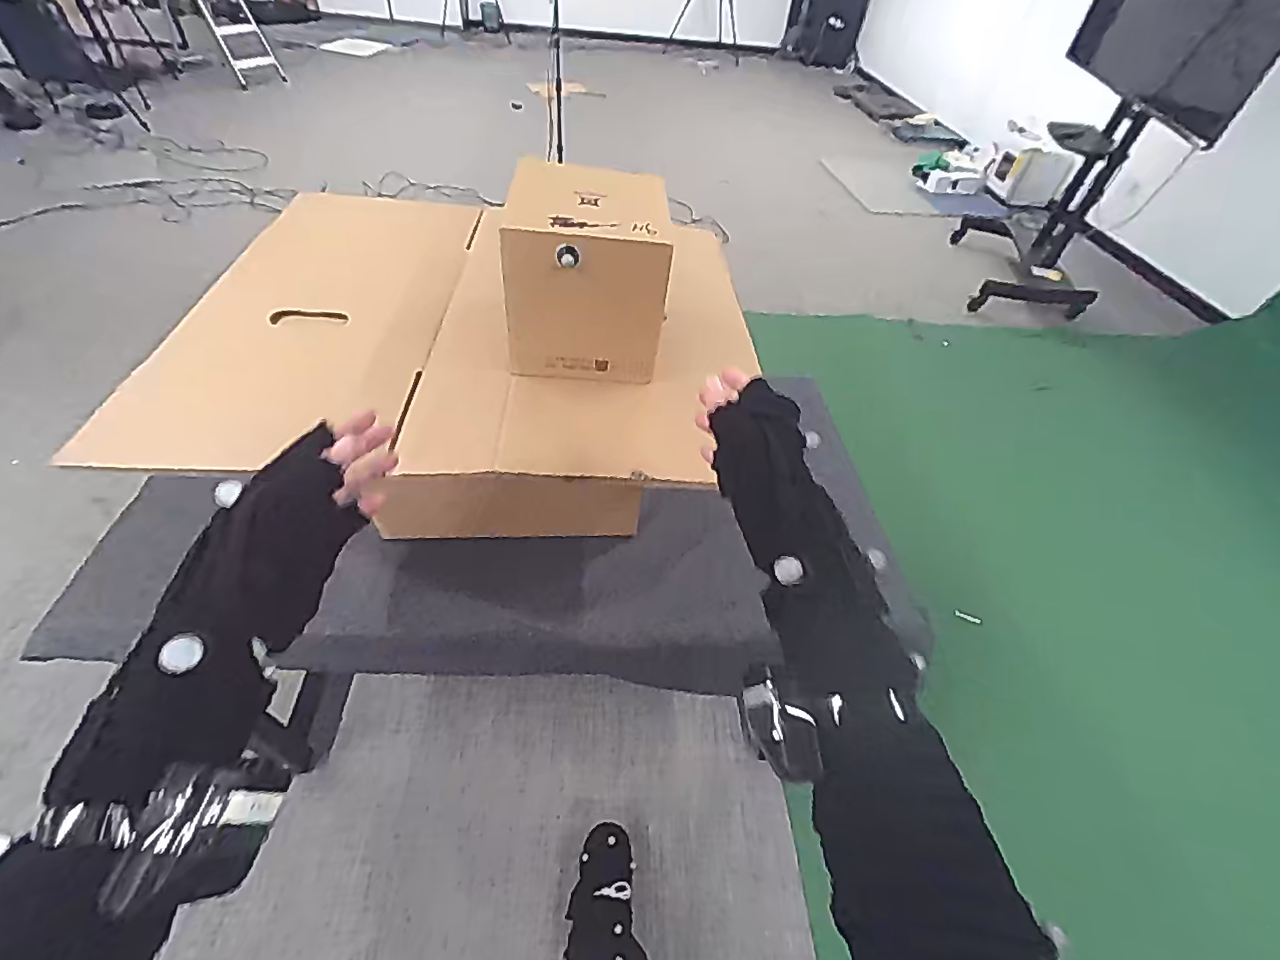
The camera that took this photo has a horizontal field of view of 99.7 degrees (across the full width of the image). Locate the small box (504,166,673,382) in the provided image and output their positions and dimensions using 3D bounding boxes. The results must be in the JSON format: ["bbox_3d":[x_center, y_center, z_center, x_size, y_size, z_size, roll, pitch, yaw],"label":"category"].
[{"bbox_3d":[-0.059,-0.238,0.629,0.168,0.176,0.179,3,47,-5],"label":"small box"}]
